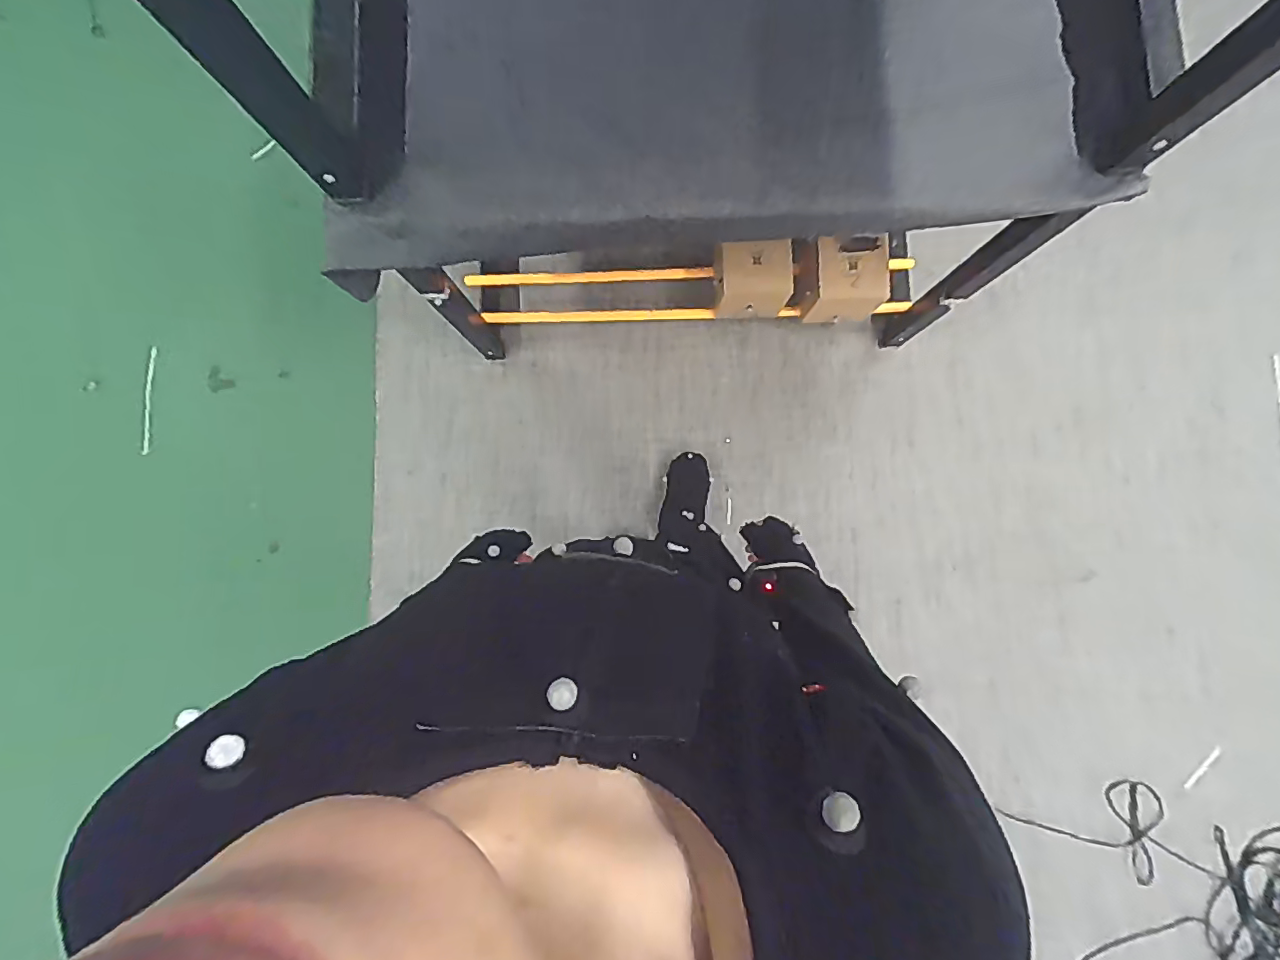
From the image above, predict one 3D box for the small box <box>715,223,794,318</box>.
[{"bbox_3d":[0.280,-0.512,1.348,0.168,0.176,0.179,-2,86,1],"label":"small box"}]
